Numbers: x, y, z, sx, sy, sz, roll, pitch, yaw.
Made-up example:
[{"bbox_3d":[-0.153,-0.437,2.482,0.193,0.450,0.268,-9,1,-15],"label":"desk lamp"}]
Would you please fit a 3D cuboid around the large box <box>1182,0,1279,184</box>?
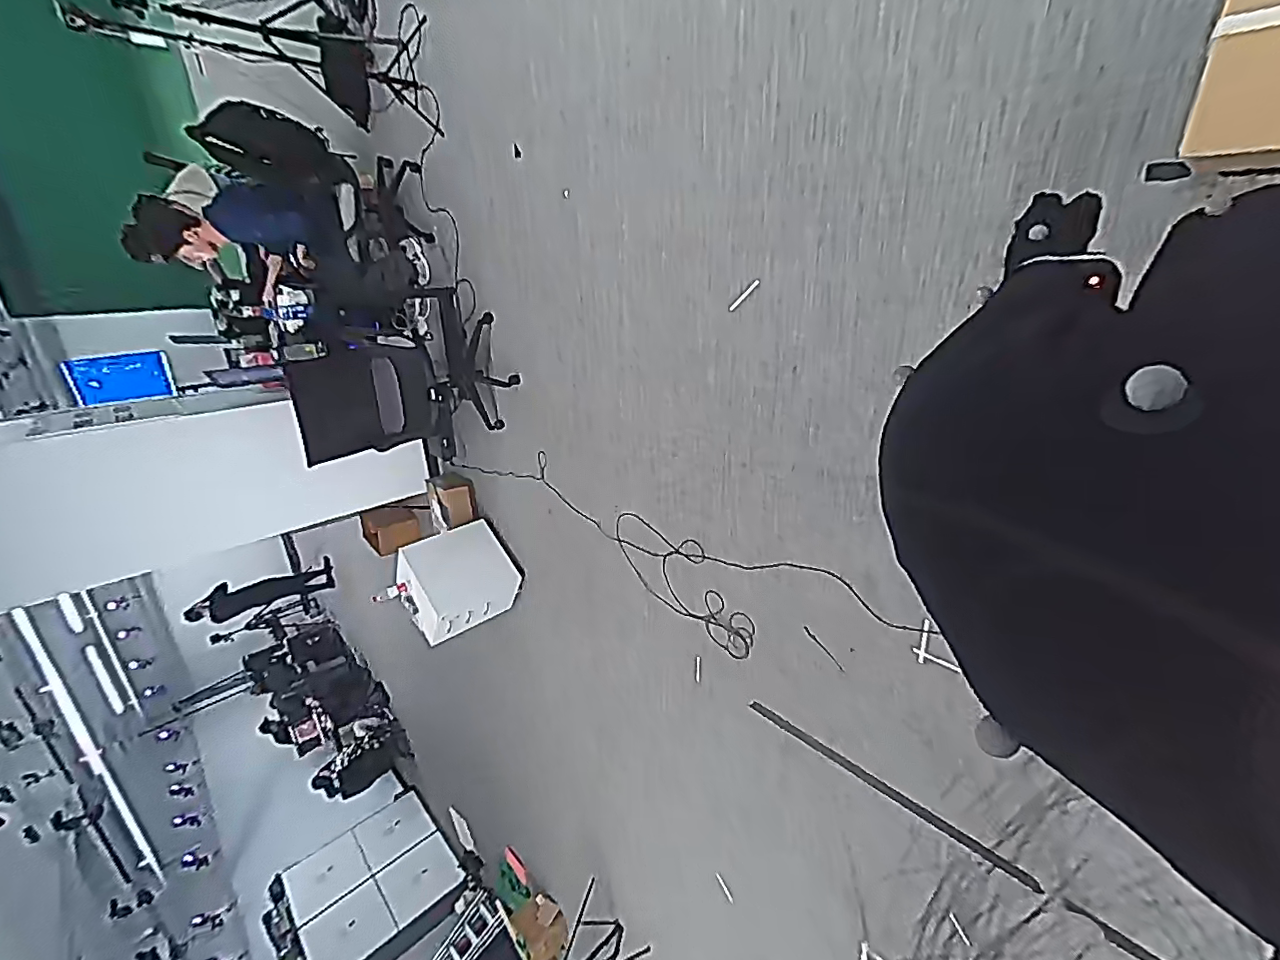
[{"bbox_3d":[1.038,-0.596,0.708,0.408,0.320,0.320,21,121,41],"label":"large box"}]
